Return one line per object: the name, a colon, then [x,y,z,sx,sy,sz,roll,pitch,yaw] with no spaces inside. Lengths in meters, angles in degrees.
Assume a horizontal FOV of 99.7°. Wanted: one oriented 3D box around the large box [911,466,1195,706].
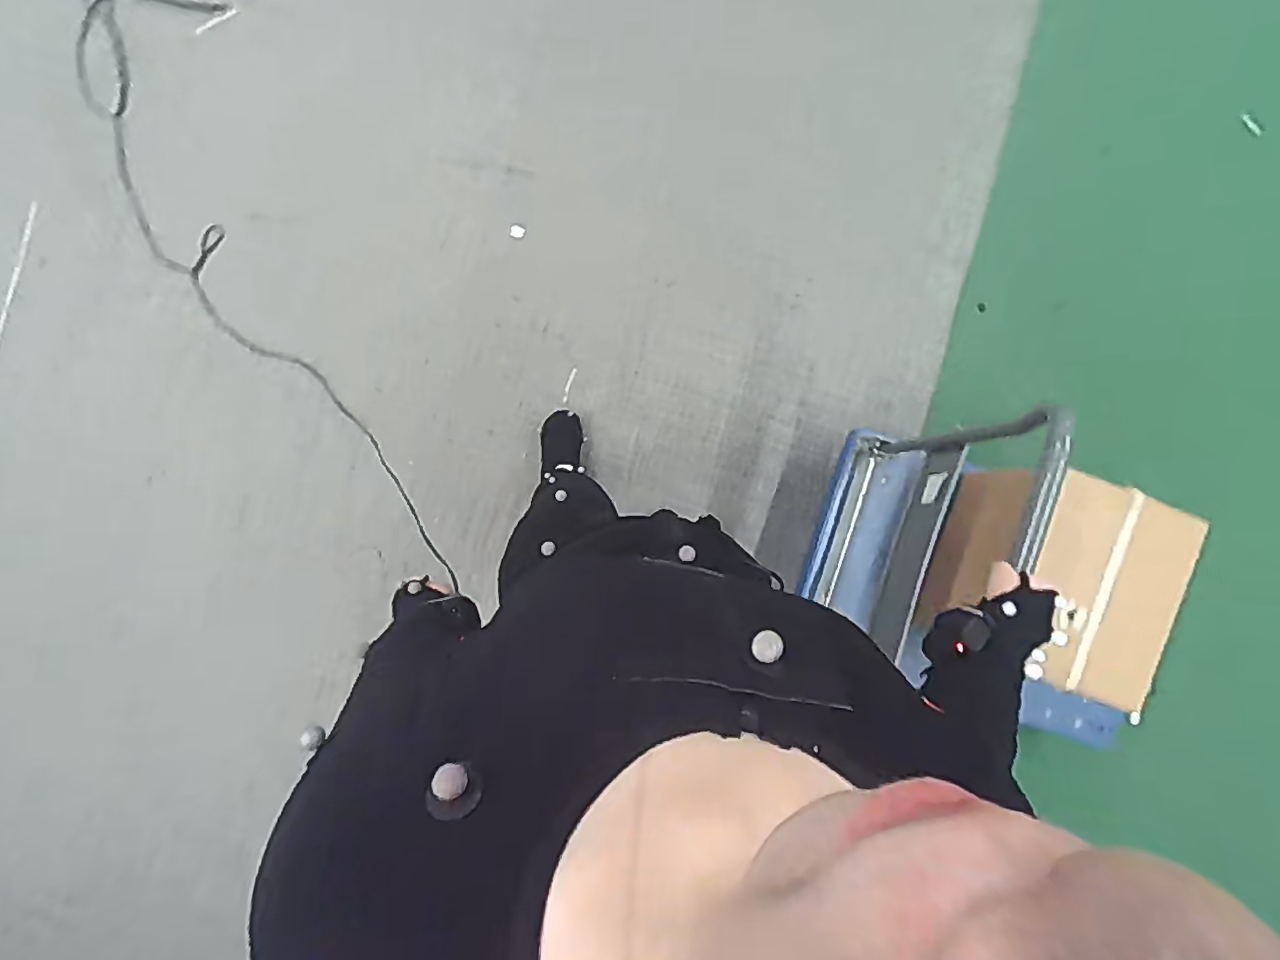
large box: [0.883,0.206,1.206,0.320,0.320,0.408,21,89,-1]
